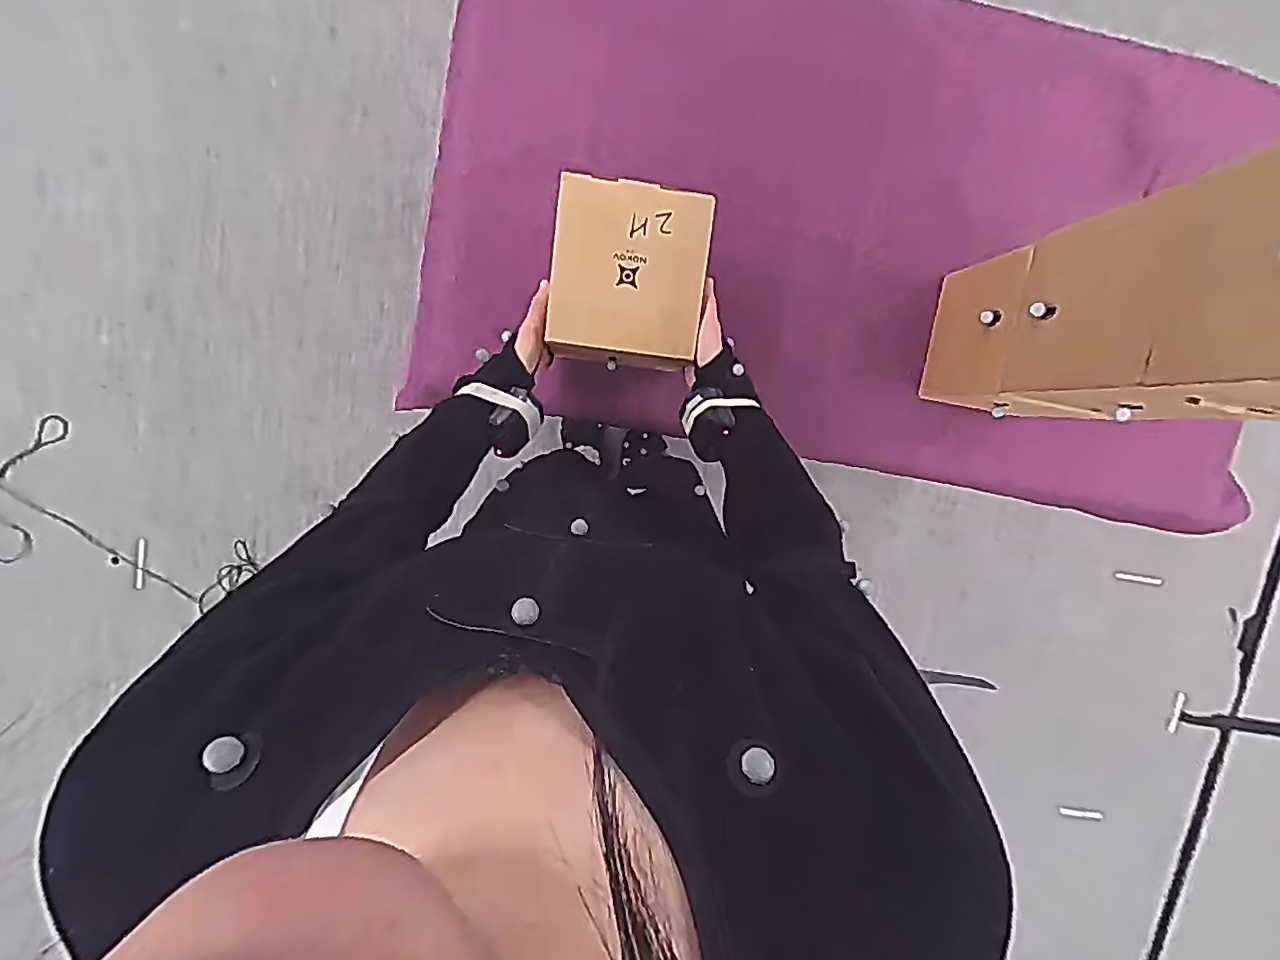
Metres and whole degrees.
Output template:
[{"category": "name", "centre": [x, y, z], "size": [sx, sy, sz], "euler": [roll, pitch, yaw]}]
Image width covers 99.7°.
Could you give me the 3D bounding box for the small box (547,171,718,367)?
[{"category": "small box", "centre": [-0.012, -0.236, 0.653], "size": [0.168, 0.176, 0.179], "euler": [7, 97, -5]}]

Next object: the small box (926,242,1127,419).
[{"category": "small box", "centre": [0.505, -0.180, 0.702], "size": [0.168, 0.176, 0.179], "euler": [9, 97, -5]}]

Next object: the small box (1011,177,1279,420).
[{"category": "small box", "centre": [0.518, -0.162, 0.540], "size": [0.168, 0.176, 0.179], "euler": [10, 97, -5]}]
